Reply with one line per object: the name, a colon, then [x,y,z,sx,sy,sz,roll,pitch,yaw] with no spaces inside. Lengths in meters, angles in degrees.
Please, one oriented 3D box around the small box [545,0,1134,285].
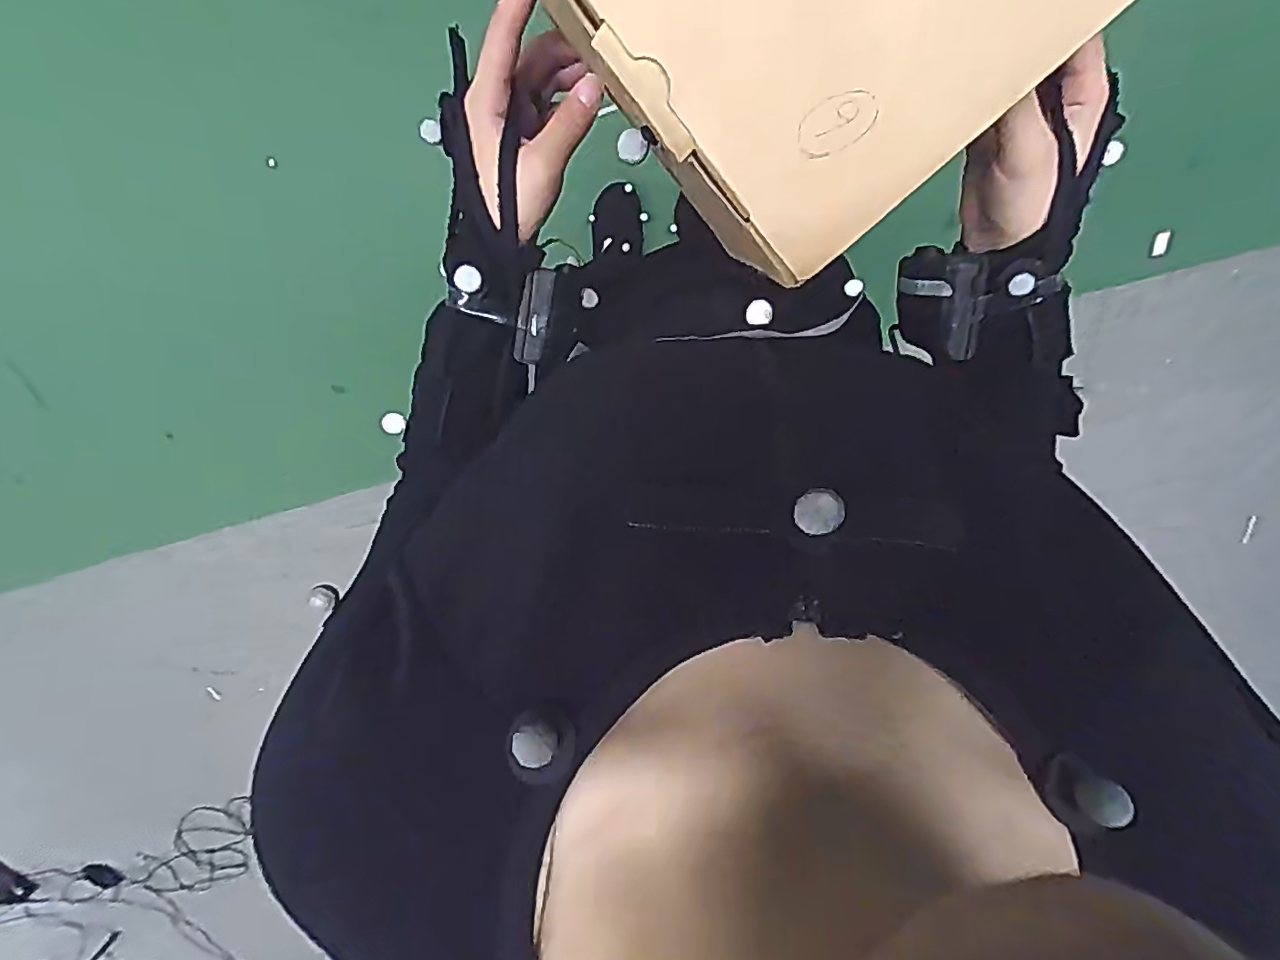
small box: [0.067,-0.209,0.220,0.179,0.176,0.168,-38,108,19]
